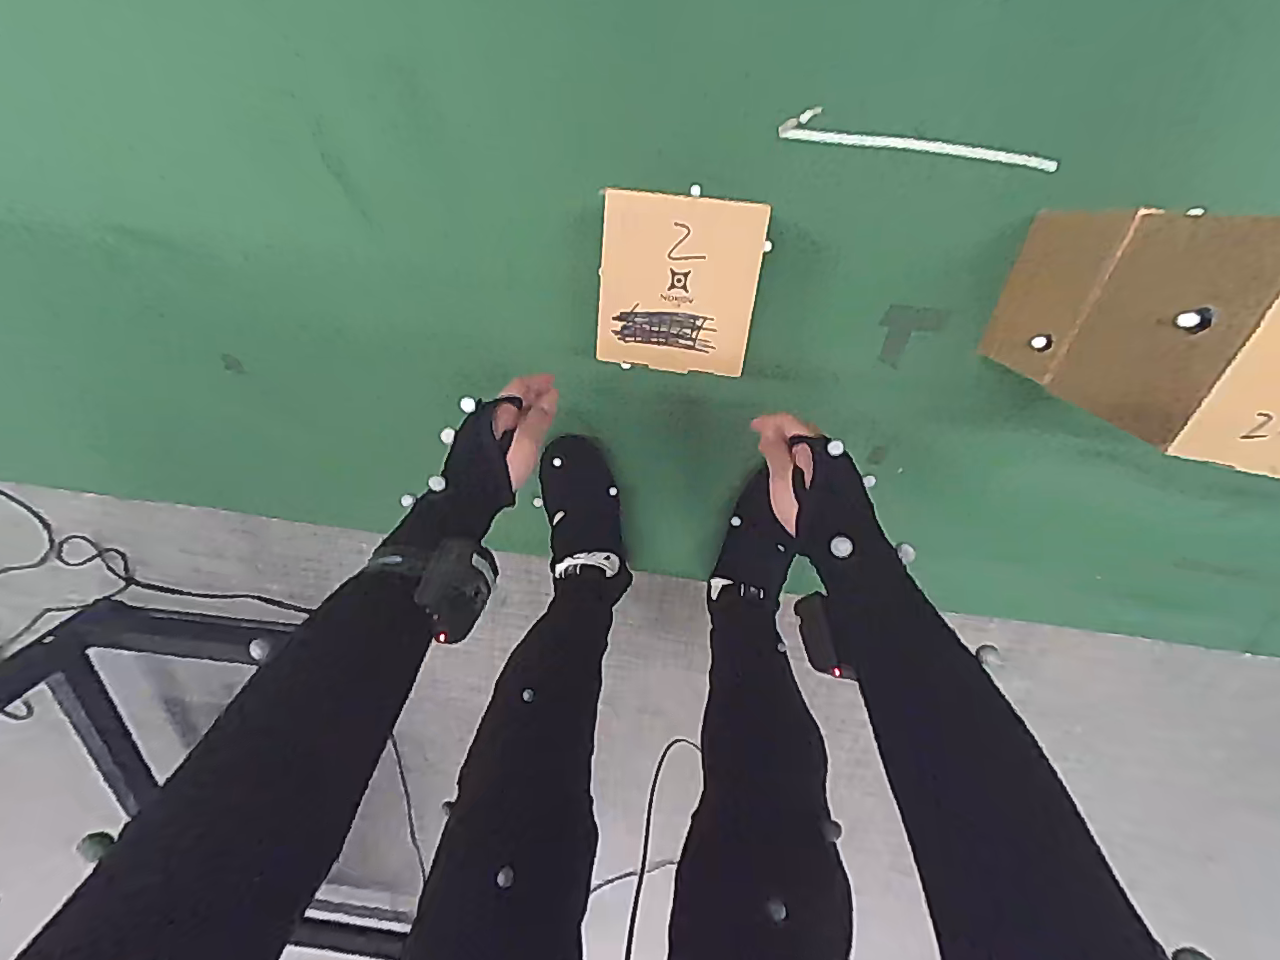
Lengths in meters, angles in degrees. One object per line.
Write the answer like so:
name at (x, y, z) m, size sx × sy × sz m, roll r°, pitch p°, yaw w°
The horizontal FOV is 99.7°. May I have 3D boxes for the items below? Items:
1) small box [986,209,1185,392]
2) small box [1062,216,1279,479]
small box at (0.530, -0.193, 0.601) m, size 0.168 × 0.176 × 0.179 m, roll 10°, pitch 118°, yaw 1°
small box at (0.517, -0.114, 0.457) m, size 0.168 × 0.176 × 0.179 m, roll 12°, pitch 118°, yaw 0°
